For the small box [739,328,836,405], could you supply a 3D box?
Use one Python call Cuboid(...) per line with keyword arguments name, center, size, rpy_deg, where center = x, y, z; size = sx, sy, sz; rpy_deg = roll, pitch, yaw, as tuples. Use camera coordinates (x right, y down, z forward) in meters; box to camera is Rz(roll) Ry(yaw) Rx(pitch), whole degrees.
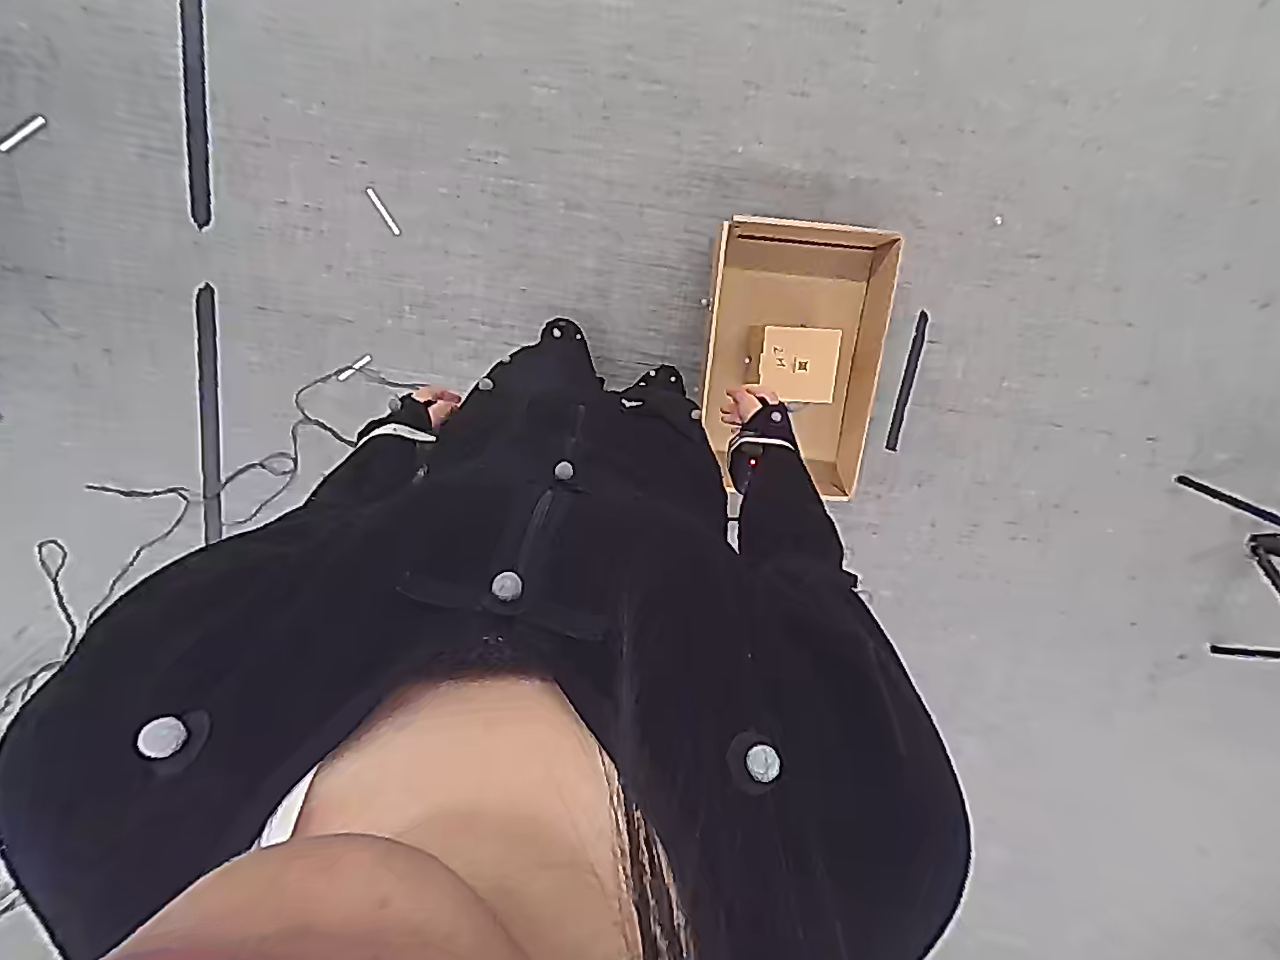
Cuboid(name="small box", center=(0.347, -0.277, 1.300), size=(0.179, 0.176, 0.168), rpy_deg=(3, 104, -1))
